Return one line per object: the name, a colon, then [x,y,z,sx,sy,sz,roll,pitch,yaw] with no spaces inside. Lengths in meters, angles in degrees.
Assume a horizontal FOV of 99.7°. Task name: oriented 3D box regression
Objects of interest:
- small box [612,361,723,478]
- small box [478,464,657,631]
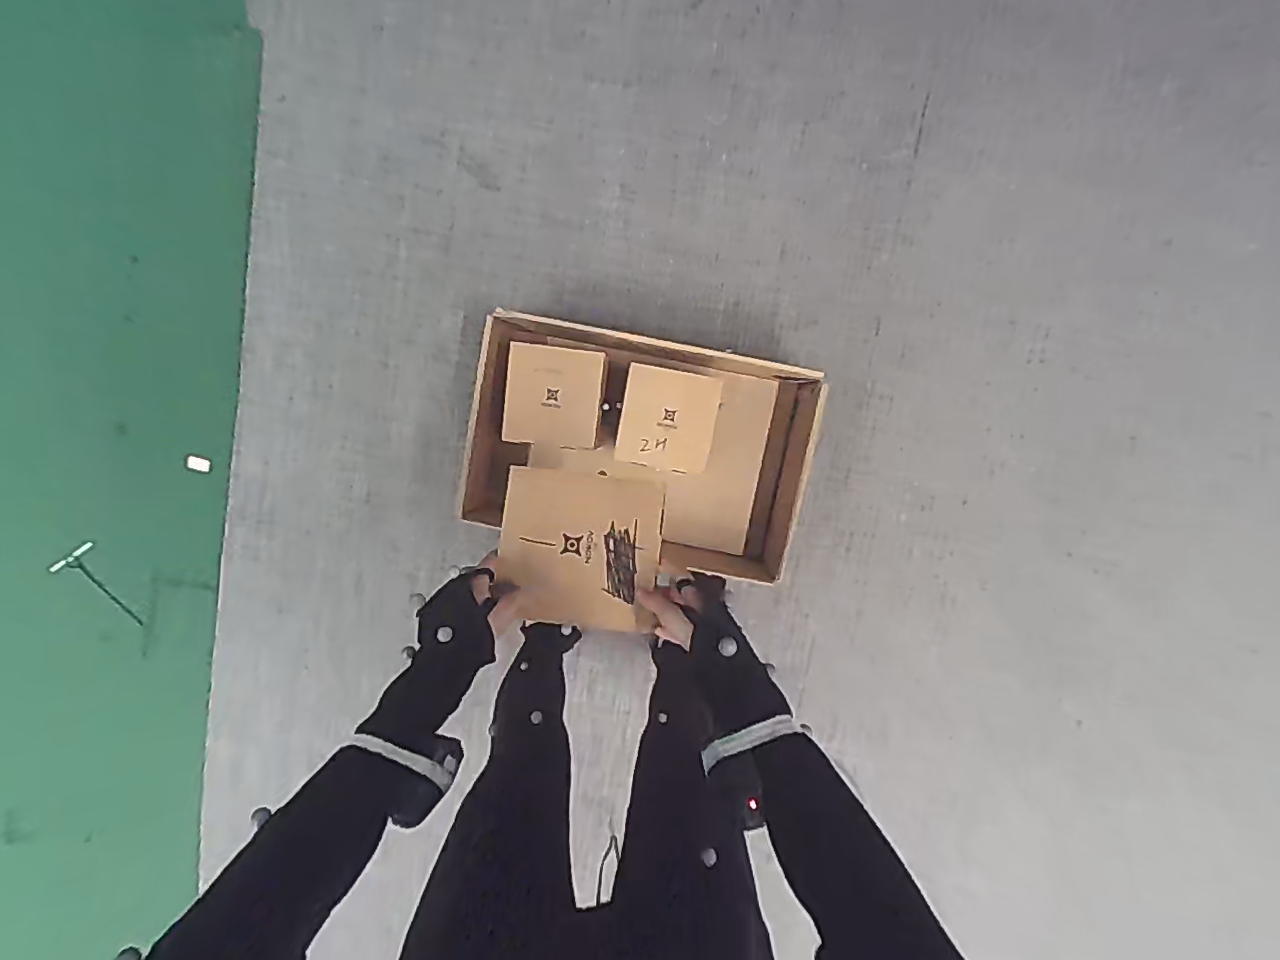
small box: [0.050,-0.113,1.012,0.168,0.176,0.179,12,97,2]
small box: [-0.079,0.086,0.663,0.179,0.176,0.168,6,78,0]
